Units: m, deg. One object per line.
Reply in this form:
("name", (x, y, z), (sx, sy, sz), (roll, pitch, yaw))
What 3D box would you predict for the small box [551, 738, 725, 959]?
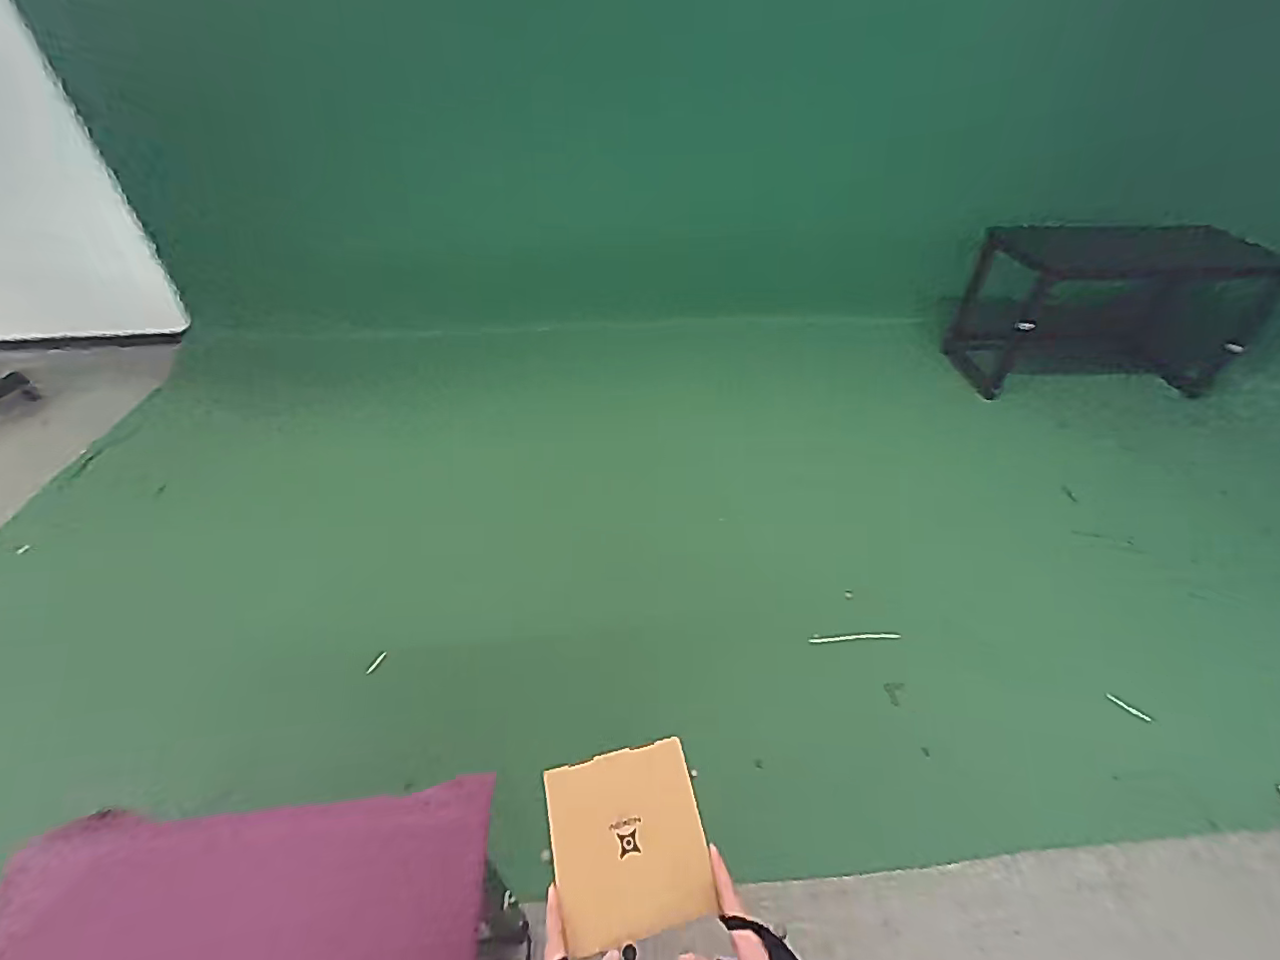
("small box", (-0.006, 0.440, 0.651), (0.168, 0.176, 0.179), (-11, 50, -7))
